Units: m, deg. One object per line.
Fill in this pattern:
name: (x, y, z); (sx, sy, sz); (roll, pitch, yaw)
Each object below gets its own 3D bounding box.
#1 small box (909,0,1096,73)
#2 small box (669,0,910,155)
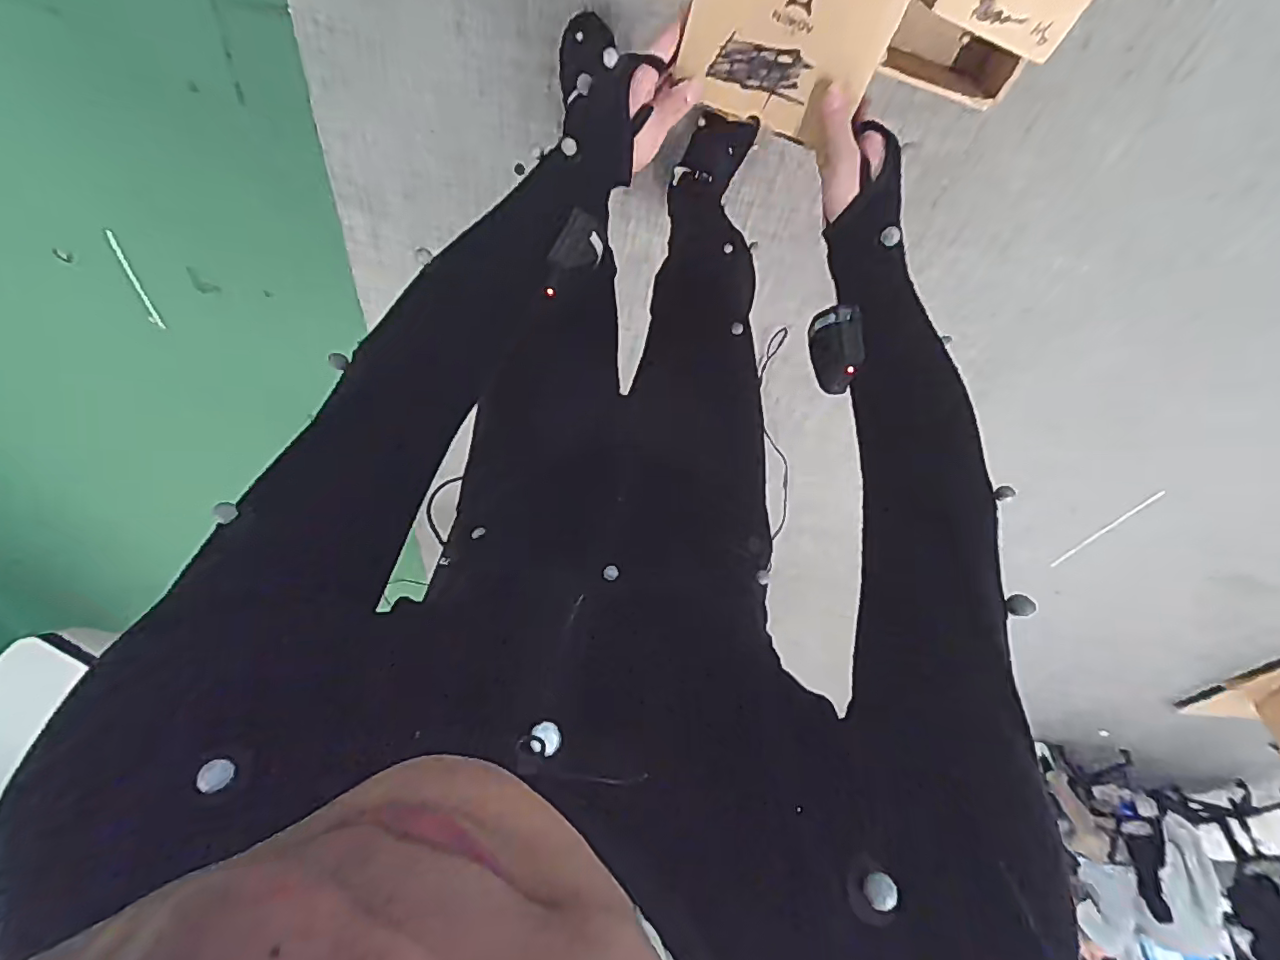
small box: (0.457, -0.639, 0.649); (0.168, 0.176, 0.179); (16, 138, -9)
small box: (0.136, -0.435, 0.485); (0.168, 0.176, 0.179); (16, 136, -6)
